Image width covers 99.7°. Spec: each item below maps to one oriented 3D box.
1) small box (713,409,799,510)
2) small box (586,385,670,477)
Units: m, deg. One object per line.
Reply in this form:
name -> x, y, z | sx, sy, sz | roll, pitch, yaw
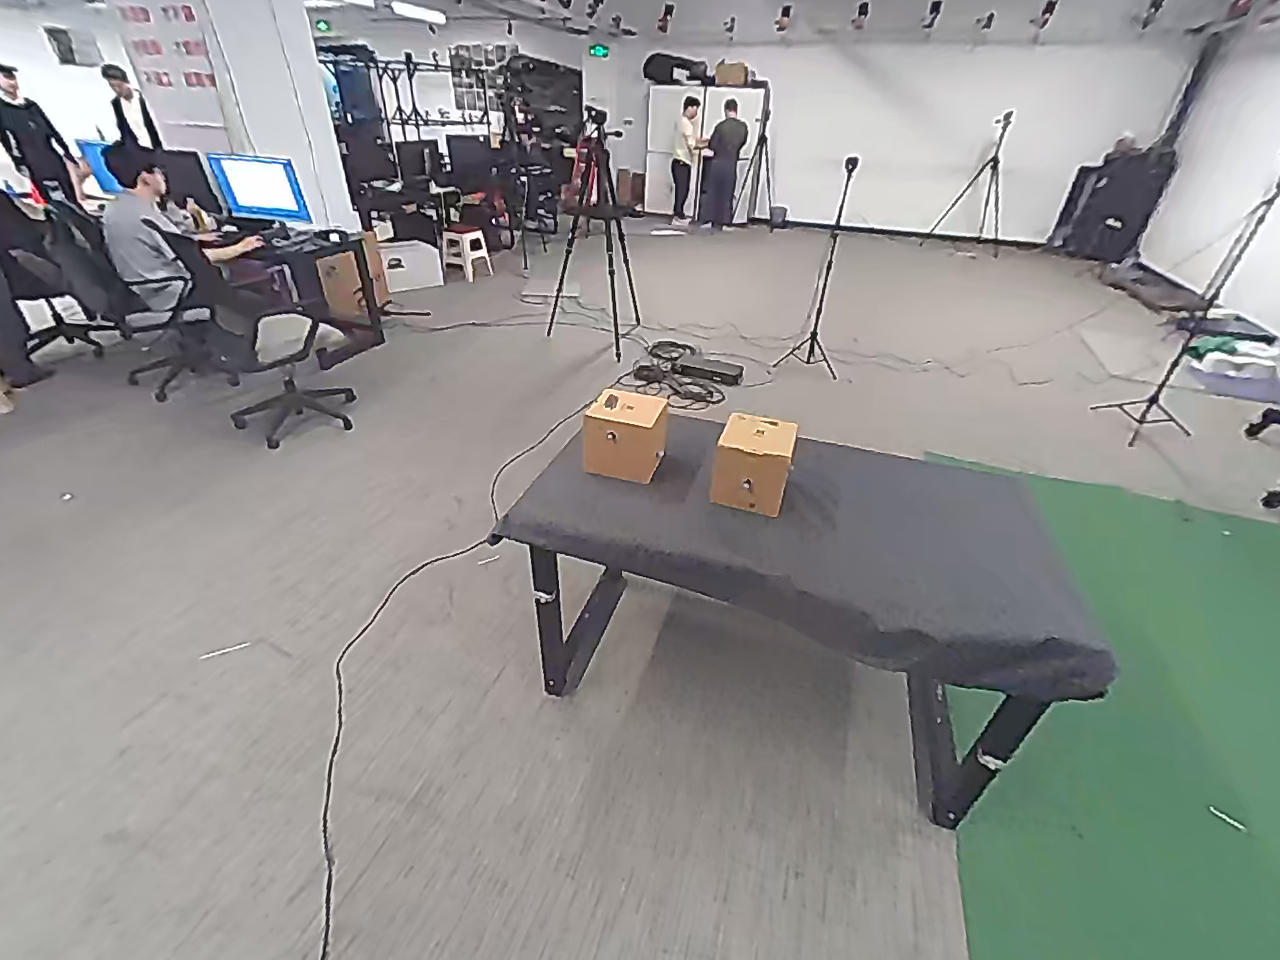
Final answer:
small box -> 0.279, -0.050, 1.312 | 0.168, 0.176, 0.179 | 13, 37, 15
small box -> -0.031, -0.127, 1.400 | 0.179, 0.176, 0.168 | 13, 36, 12
